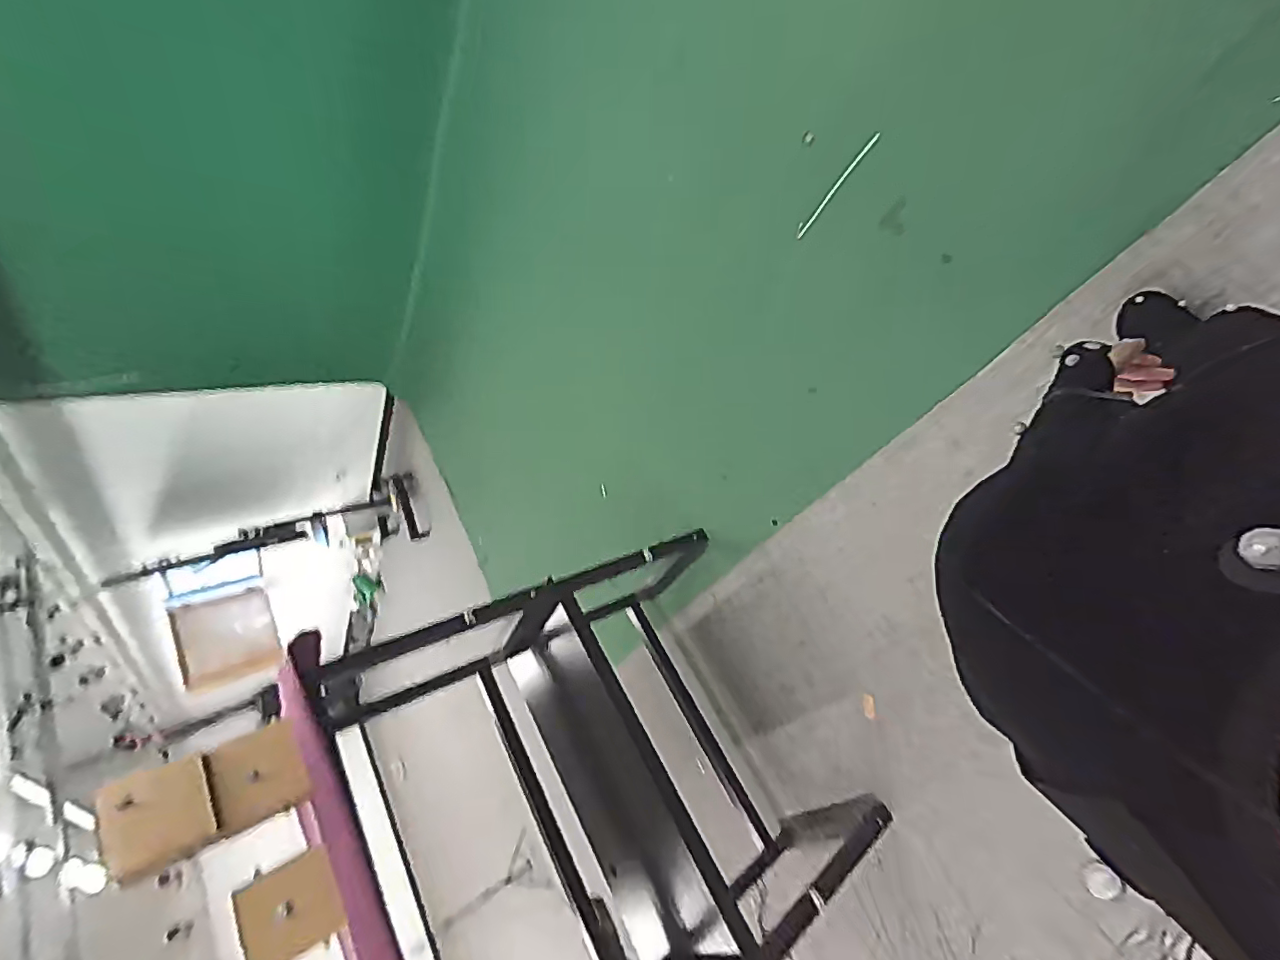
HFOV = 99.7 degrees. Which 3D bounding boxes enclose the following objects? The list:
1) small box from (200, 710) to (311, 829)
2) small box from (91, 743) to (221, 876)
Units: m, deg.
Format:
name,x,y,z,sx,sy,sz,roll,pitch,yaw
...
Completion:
name,x,y,z,sx,sy,sz,roll,pitch,yaw
small box,-0.872,0.651,1.232,0.179,0.176,0.168,57,137,19
small box,-0.987,0.669,1.114,0.179,0.176,0.168,57,137,20
